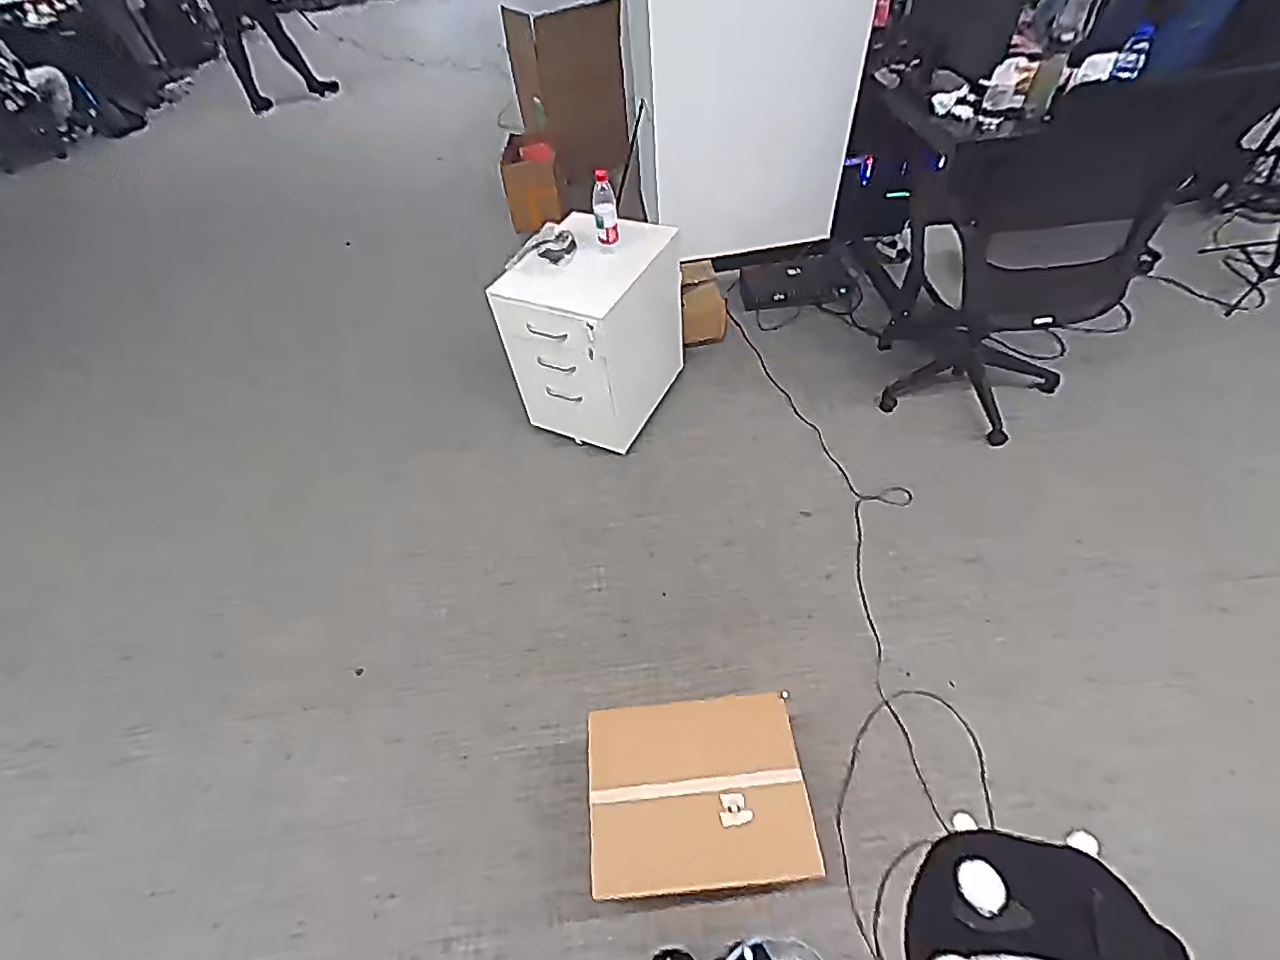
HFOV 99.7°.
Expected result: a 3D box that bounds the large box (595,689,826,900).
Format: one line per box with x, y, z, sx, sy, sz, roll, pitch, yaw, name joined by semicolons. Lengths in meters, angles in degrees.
0.125;0.670;1.145;0.408;0.320;0.320;-6;52;1;large box
